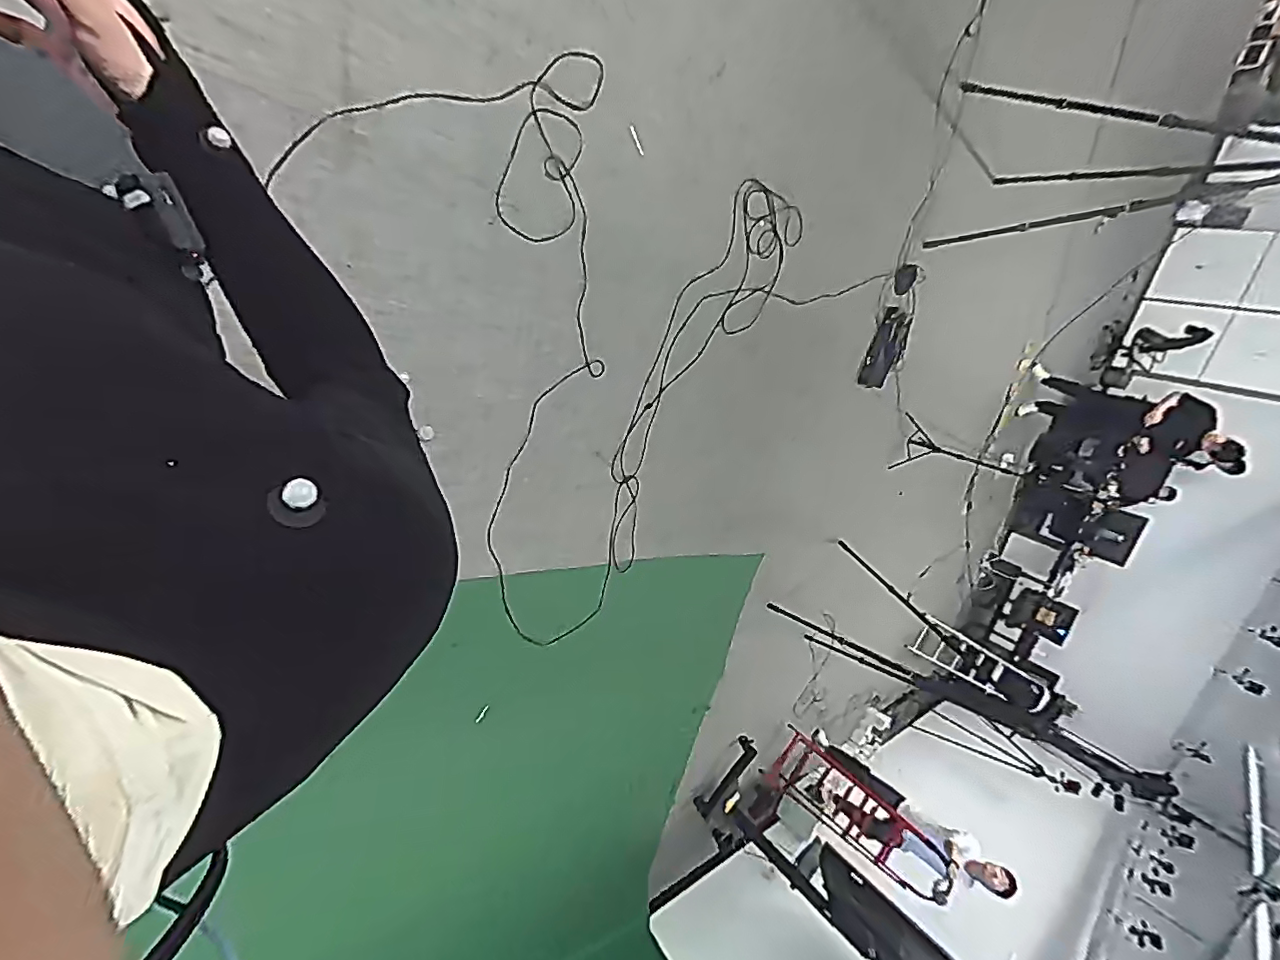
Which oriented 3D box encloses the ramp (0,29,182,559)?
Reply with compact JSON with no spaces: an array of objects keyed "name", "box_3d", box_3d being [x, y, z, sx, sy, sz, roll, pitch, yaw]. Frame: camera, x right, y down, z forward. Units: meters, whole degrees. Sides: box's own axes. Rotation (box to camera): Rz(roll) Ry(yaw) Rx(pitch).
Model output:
[{"name":"ramp","box_3d":[-1.219,-0.331,1.053,0.509,0.206,0.991,-1,111,-41]}]
